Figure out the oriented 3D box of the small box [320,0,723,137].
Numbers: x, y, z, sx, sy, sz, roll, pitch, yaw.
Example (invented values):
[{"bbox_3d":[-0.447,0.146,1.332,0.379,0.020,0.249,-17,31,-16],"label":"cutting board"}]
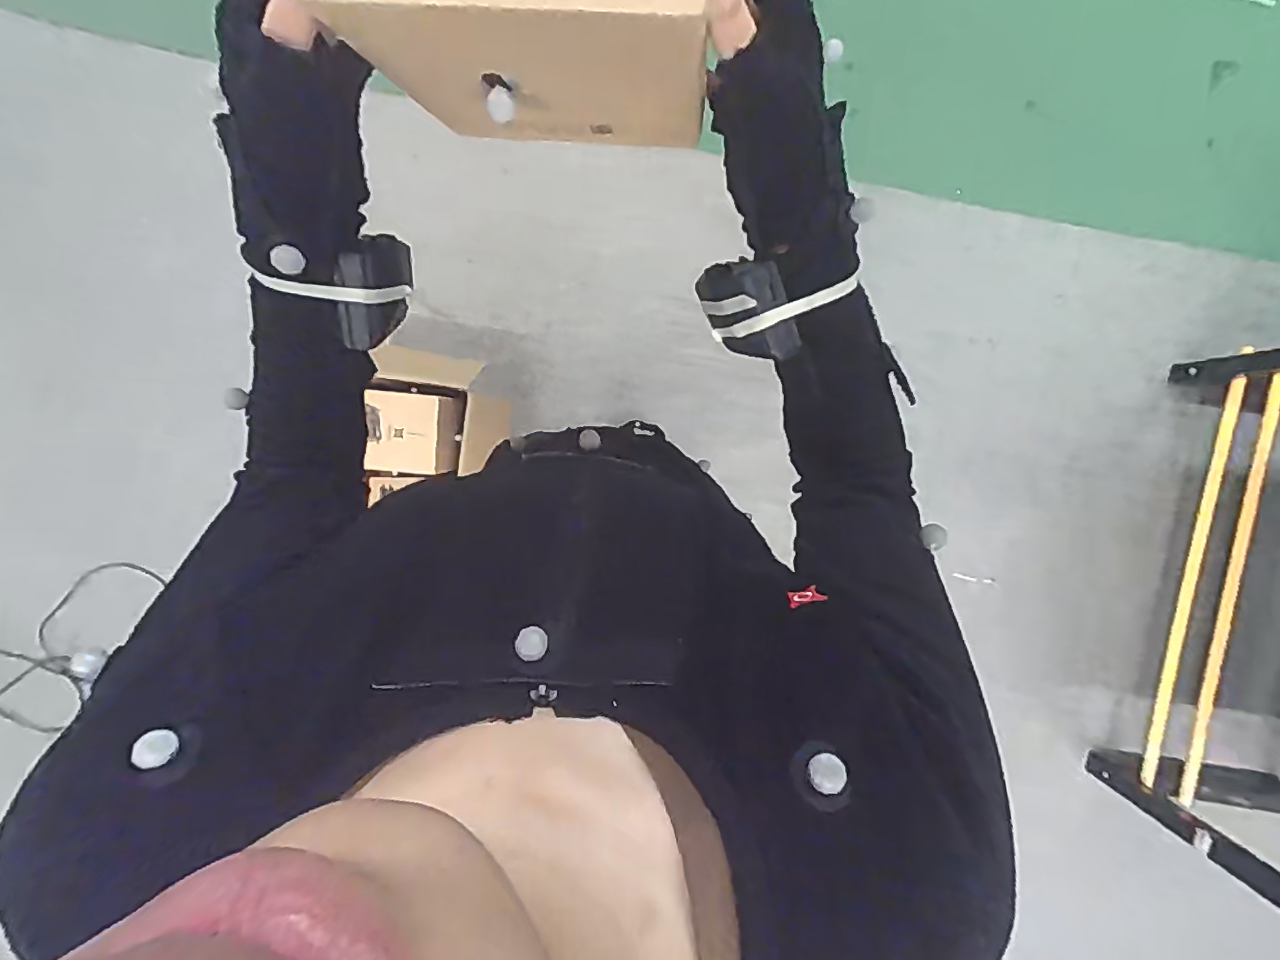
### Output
[{"bbox_3d":[-0.038,-0.289,0.260,0.168,0.176,0.179,5,106,3],"label":"small box"}]
